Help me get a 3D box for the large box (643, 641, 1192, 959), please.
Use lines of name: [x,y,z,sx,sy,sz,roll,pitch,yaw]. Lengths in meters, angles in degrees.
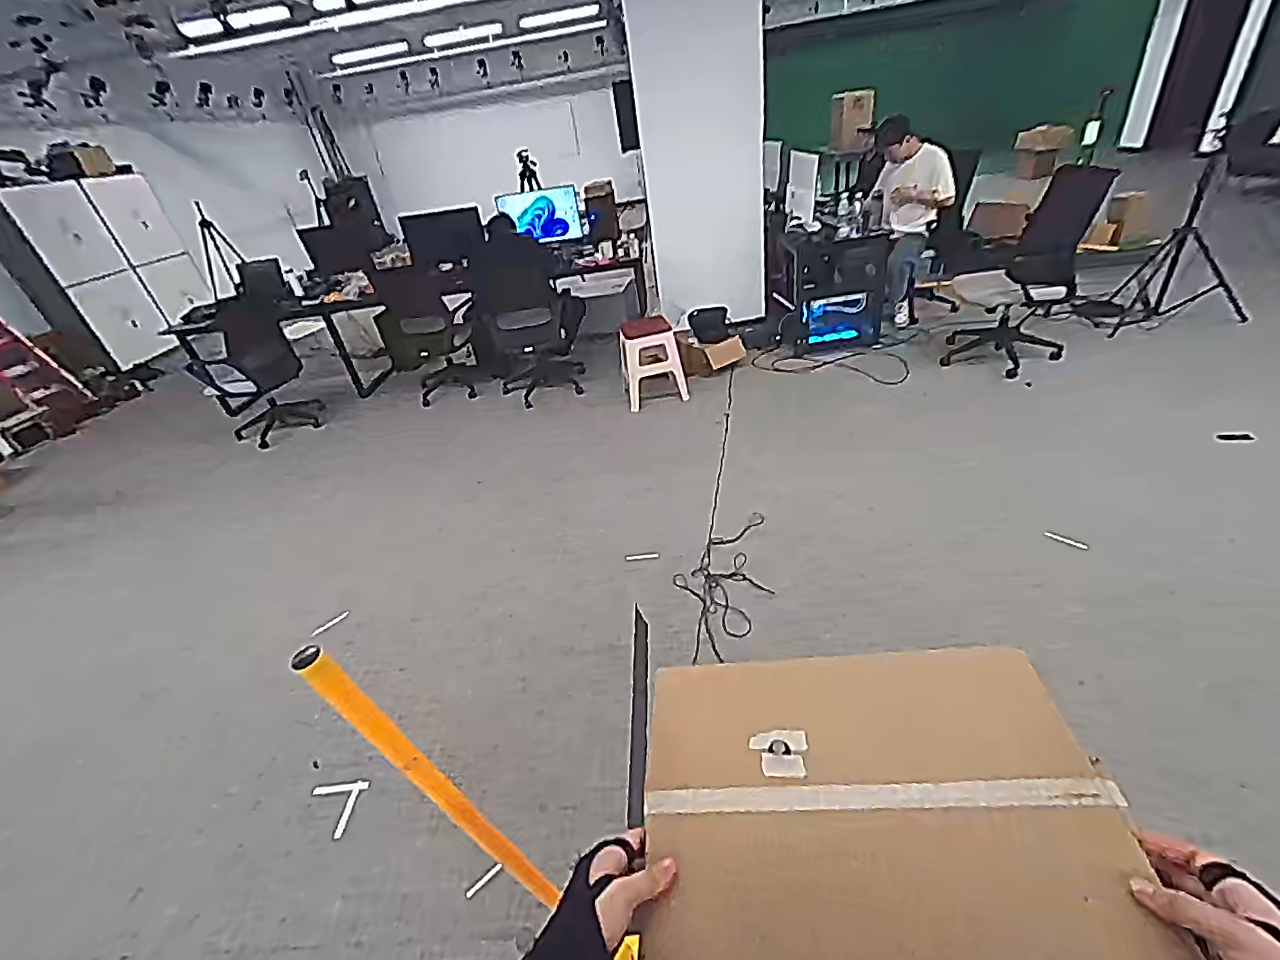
large box: [0.241,0.416,0.594,0.408,0.320,0.320,-9,34,12]
